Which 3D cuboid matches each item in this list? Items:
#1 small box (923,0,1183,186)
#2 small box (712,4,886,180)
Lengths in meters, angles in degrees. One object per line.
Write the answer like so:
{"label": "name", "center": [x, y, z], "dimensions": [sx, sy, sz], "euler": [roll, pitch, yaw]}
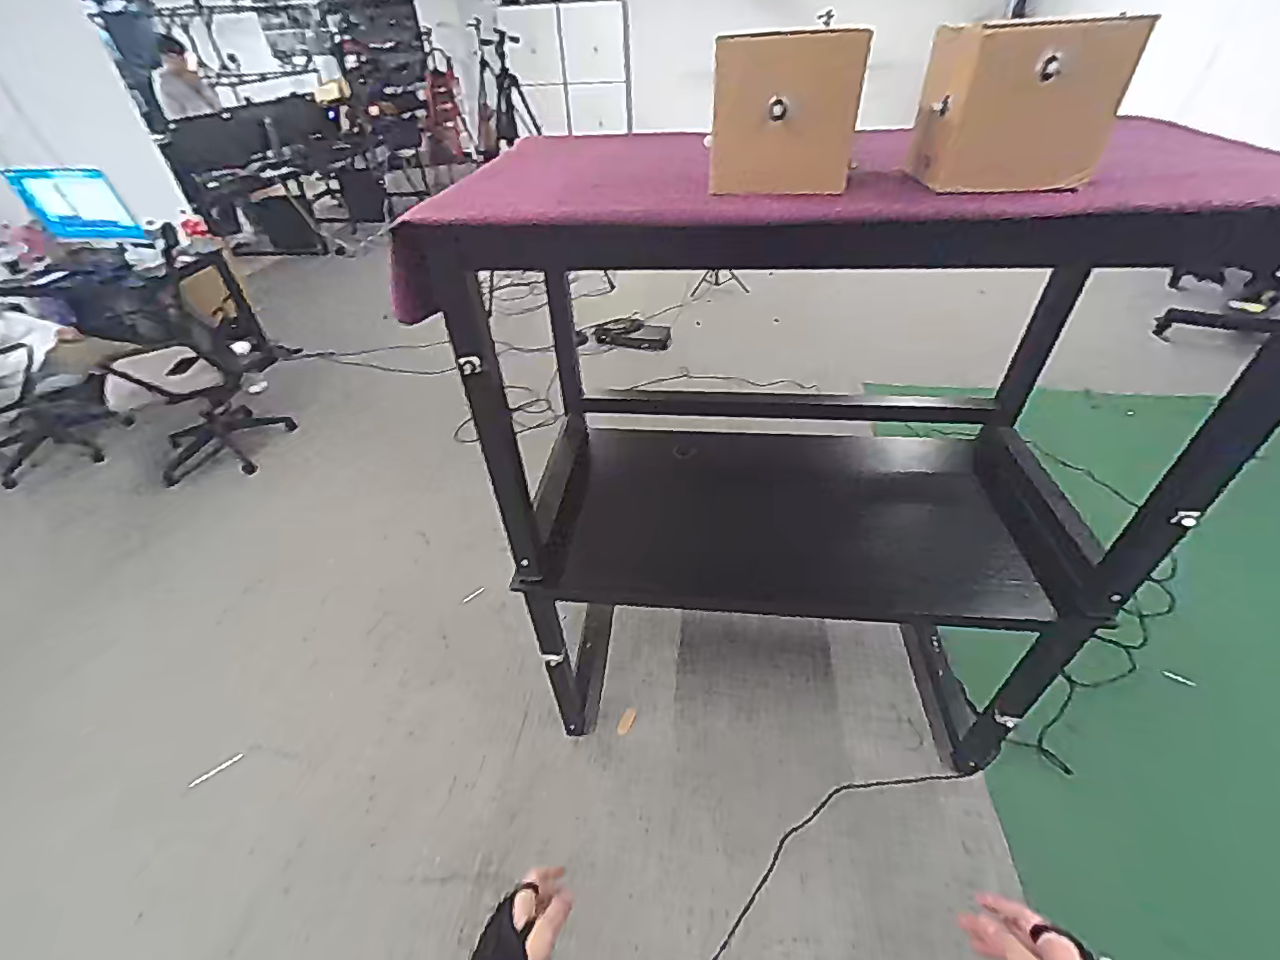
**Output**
{"label": "small box", "center": [0.463, -0.463, 0.650], "dimensions": [0.179, 0.176, 0.168], "euler": [5, 41, 7]}
{"label": "small box", "center": [0.192, -0.492, 0.689], "dimensions": [0.179, 0.176, 0.168], "euler": [7, 41, 10]}
